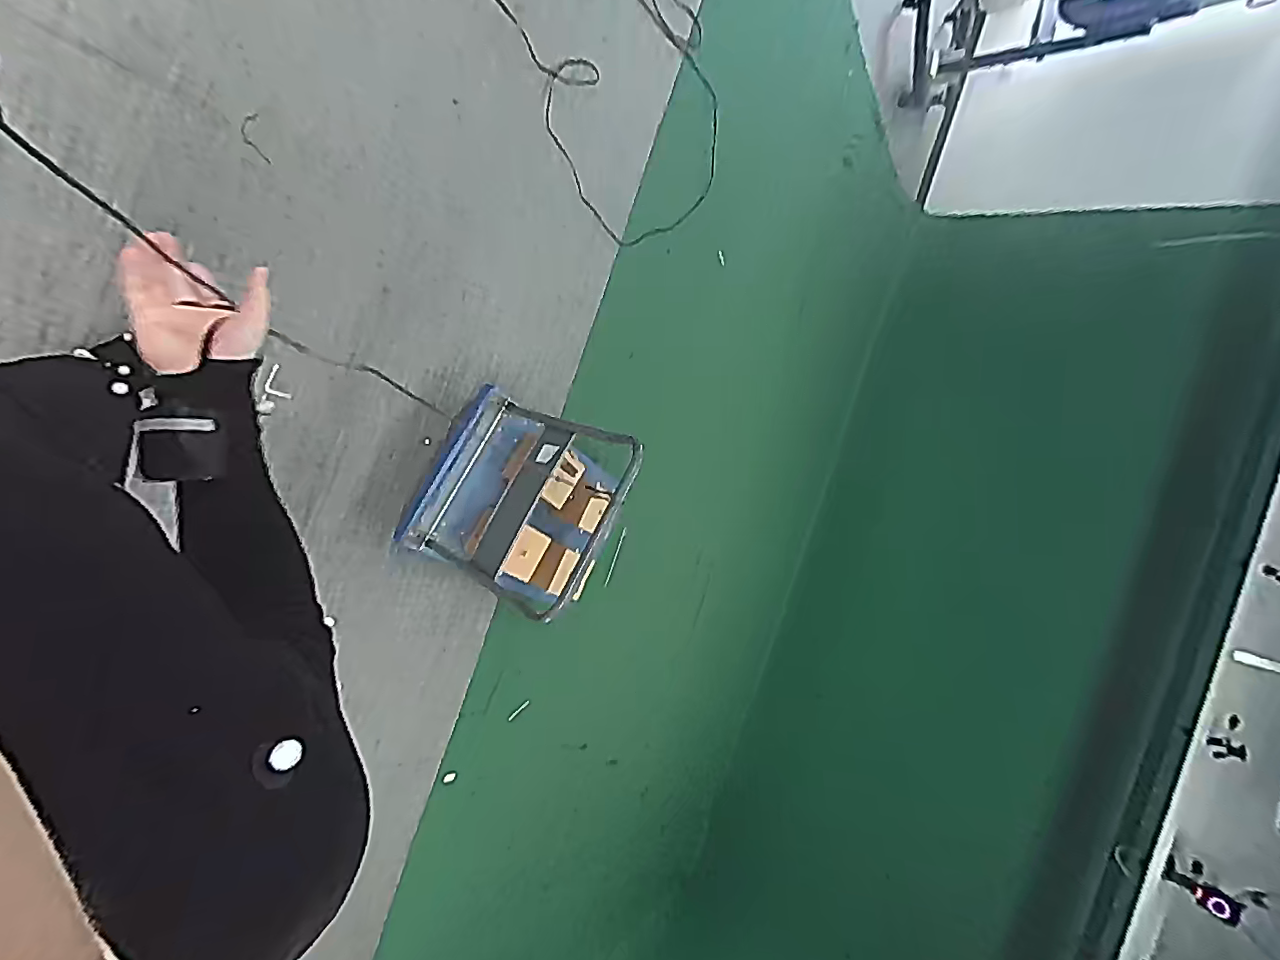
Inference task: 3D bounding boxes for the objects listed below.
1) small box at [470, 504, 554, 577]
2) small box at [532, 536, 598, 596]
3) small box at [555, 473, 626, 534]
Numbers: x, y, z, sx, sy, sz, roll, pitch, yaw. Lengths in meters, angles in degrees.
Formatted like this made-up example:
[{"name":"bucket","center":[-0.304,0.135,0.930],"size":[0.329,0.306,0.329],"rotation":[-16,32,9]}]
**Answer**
[{"name":"small box","center":[-0.431,0.200,1.816],"size":[0.179,0.176,0.168],"rotation":[41,73,-49]},{"name":"small box","center":[-0.296,0.312,2.022],"size":[0.179,0.176,0.168],"rotation":[34,77,-50]},{"name":"small box","center":[-0.192,0.085,2.055],"size":[0.179,0.176,0.168],"rotation":[34,78,-51]}]
